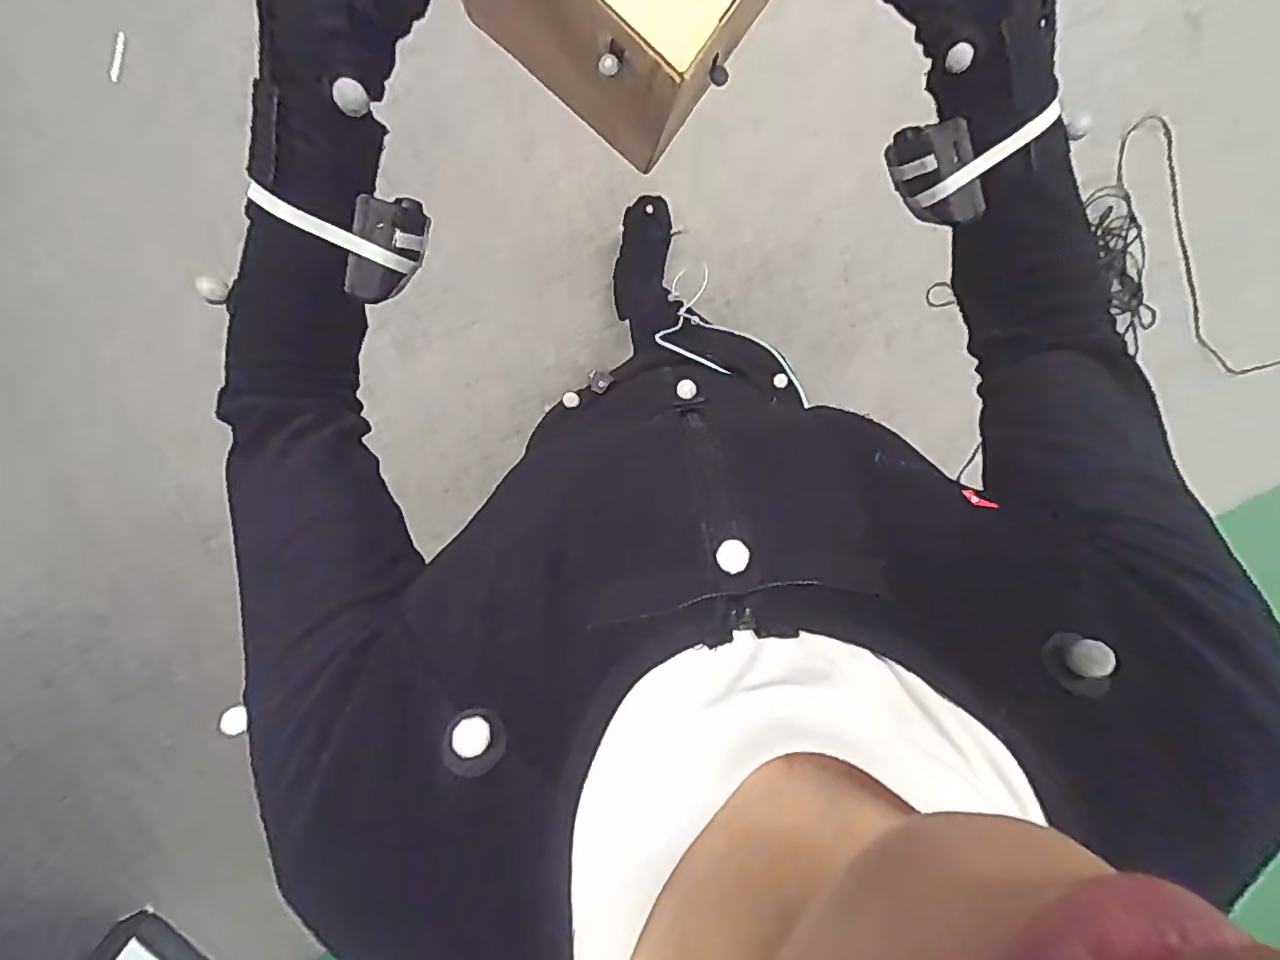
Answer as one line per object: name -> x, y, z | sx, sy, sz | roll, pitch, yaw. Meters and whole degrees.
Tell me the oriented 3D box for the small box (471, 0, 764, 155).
small box -> -0.006, -0.350, 0.342 | 0.179, 0.176, 0.168 | 35, 97, -14
